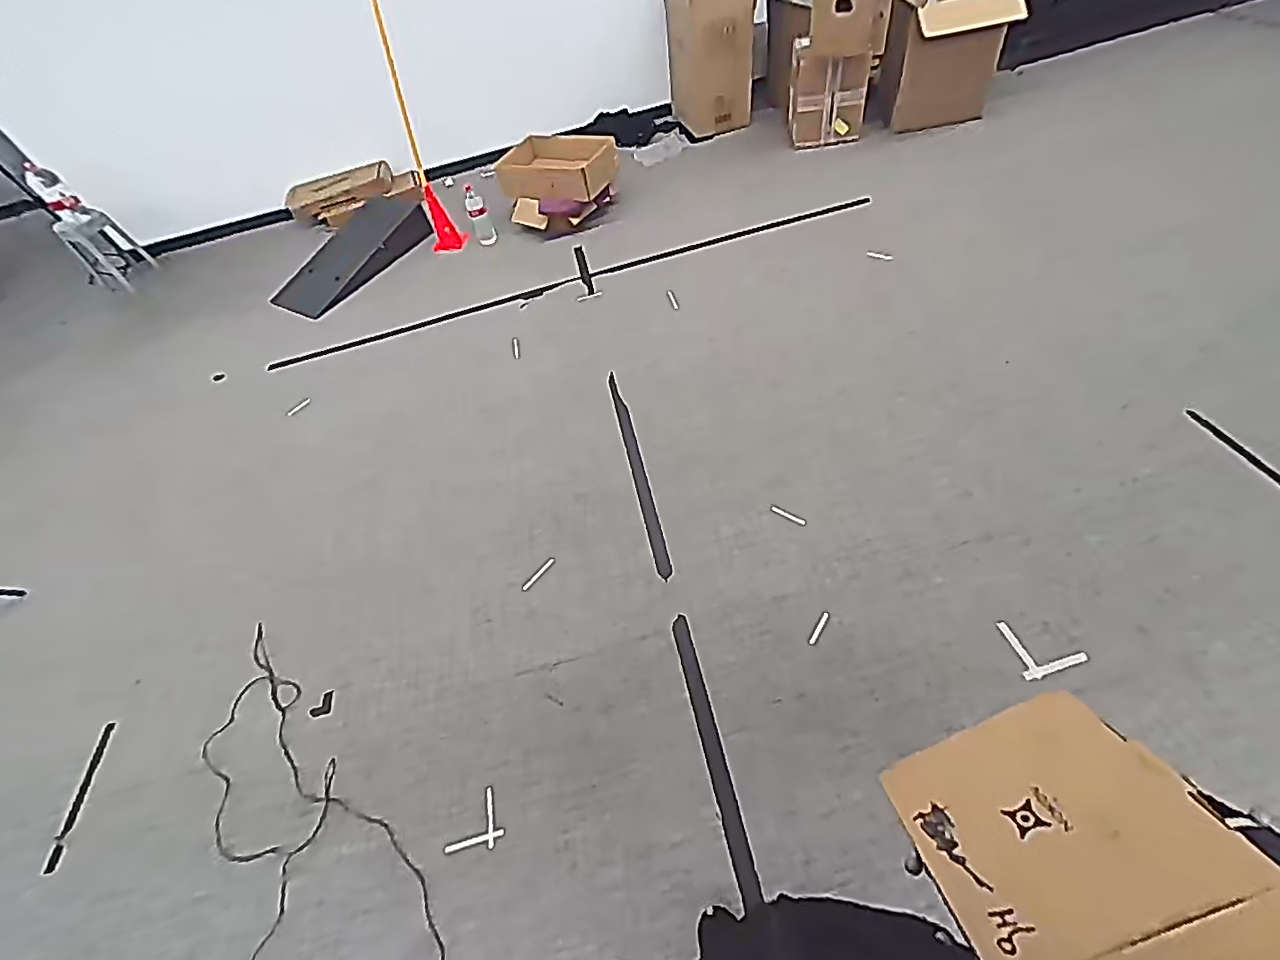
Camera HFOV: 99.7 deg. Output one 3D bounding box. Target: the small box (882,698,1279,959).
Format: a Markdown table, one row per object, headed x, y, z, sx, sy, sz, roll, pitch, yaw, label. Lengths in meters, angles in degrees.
| x | y | z | sx | sy | sz | roll | pitch | yaw | label |
| --- | --- | --- | --- | --- | --- | --- | --- | --- | --- |
| 0.329 | 0.316 | 0.417 | 0.179 | 0.176 | 0.168 | -29 | 15 | 6 | small box |
